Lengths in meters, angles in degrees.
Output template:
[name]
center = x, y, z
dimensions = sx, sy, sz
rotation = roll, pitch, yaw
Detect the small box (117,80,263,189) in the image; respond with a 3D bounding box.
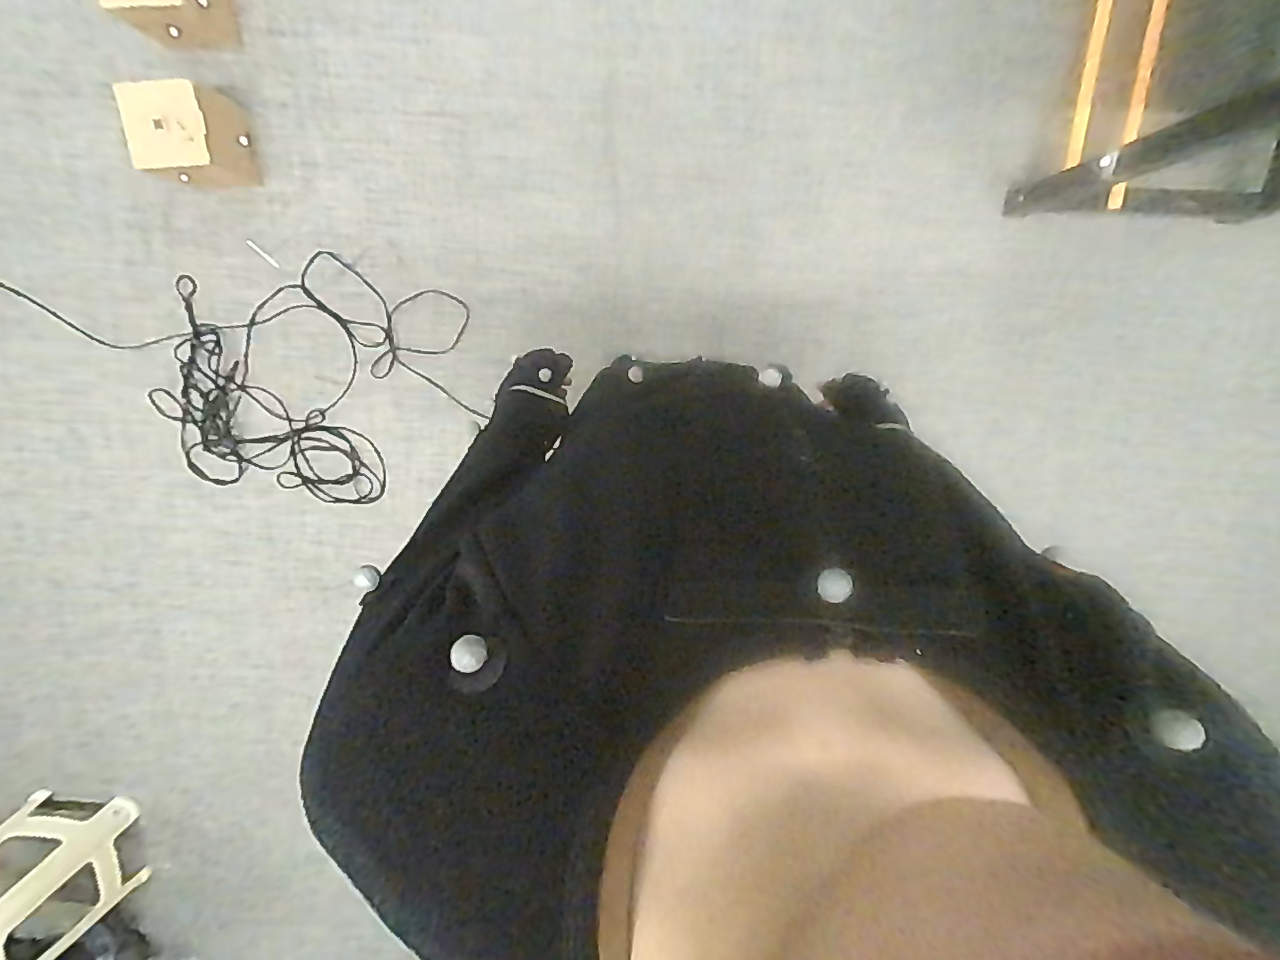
[small box]
center = -1.015, -0.778, 1.234
dimensions = 0.179, 0.176, 0.168
rotation = -3, 105, 1
